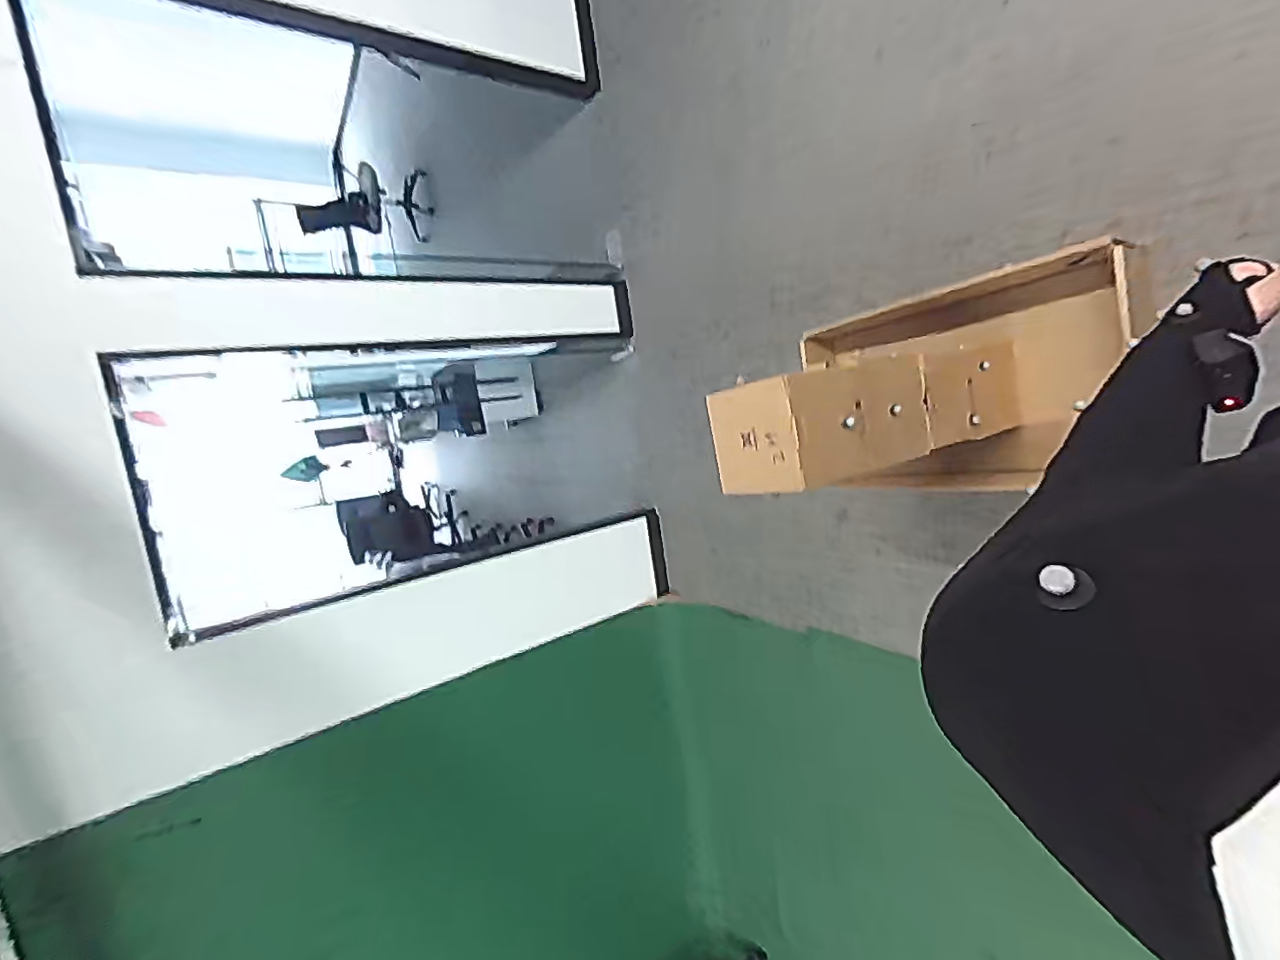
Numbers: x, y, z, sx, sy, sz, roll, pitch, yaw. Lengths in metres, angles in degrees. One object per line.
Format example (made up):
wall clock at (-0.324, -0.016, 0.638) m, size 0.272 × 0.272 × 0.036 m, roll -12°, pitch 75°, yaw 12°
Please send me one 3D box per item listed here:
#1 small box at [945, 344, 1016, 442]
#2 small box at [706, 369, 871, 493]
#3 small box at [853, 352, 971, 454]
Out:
small box at (0.643, -0.173, 1.114) m, size 0.168 × 0.176 × 0.179 m, roll -4°, pitch 97°, yaw 58°
small box at (0.233, -0.075, 0.858) m, size 0.179 × 0.176 × 0.168 m, roll -4°, pitch 98°, yaw 58°
small box at (0.505, -0.144, 1.030) m, size 0.179 × 0.176 × 0.168 m, roll -2°, pitch 99°, yaw 58°
